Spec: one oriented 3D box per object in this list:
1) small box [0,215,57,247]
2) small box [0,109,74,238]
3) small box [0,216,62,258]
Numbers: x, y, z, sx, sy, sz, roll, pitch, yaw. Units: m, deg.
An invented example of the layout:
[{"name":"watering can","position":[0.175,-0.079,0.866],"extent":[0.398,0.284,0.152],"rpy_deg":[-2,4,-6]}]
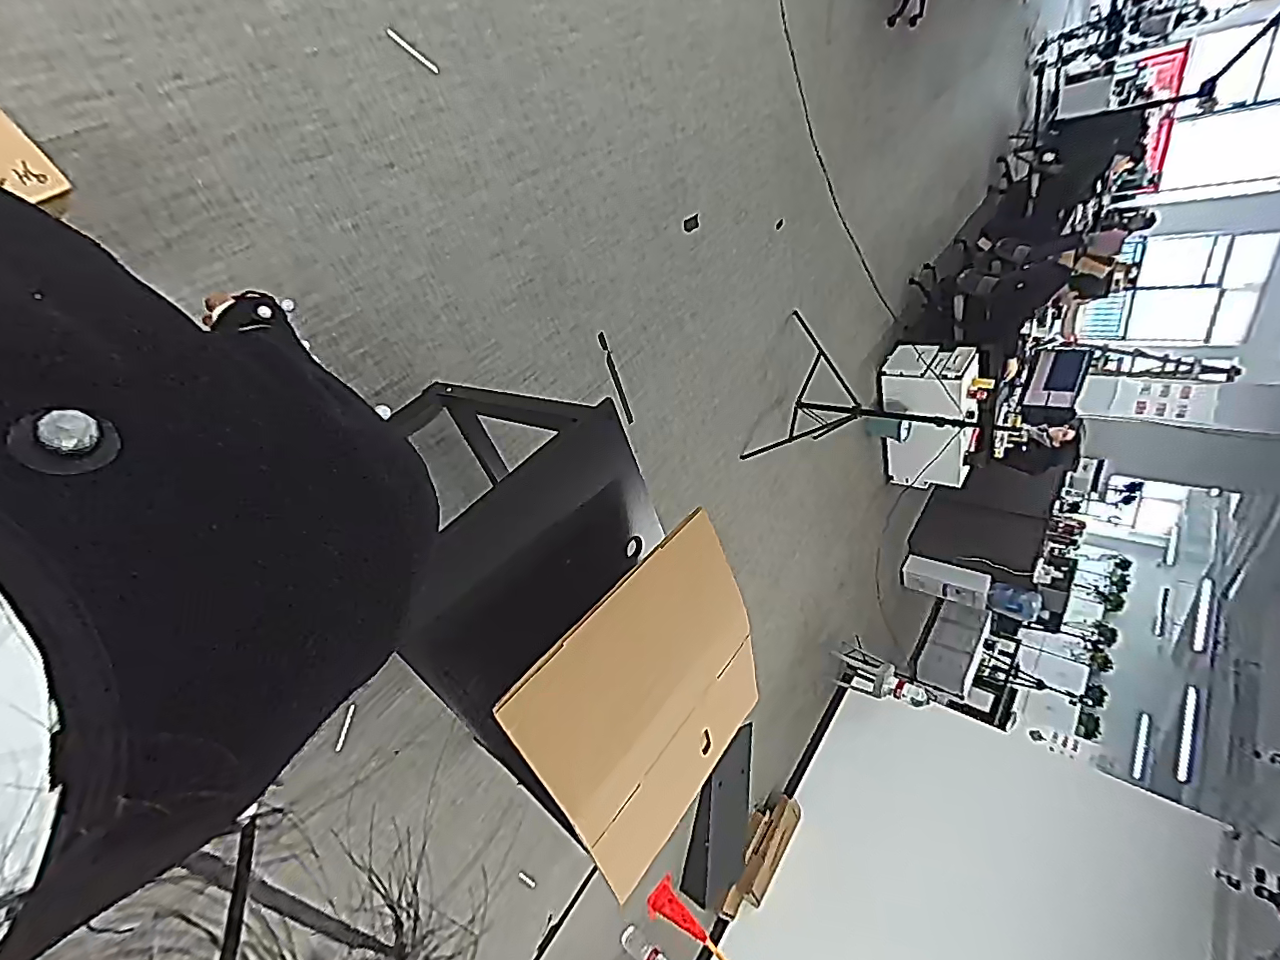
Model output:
[{"name":"small box","position":[-0.973,-0.420,0.758],"extent":[0.179,0.176,0.168],"rpy_deg":[-53,135,-26]},{"name":"small box","position":[-0.854,-0.391,0.649],"extent":[0.168,0.176,0.179],"rpy_deg":[-50,133,-27]},{"name":"small box","position":[-1.096,-0.445,0.861],"extent":[0.179,0.176,0.168],"rpy_deg":[-48,132,-27]}]
